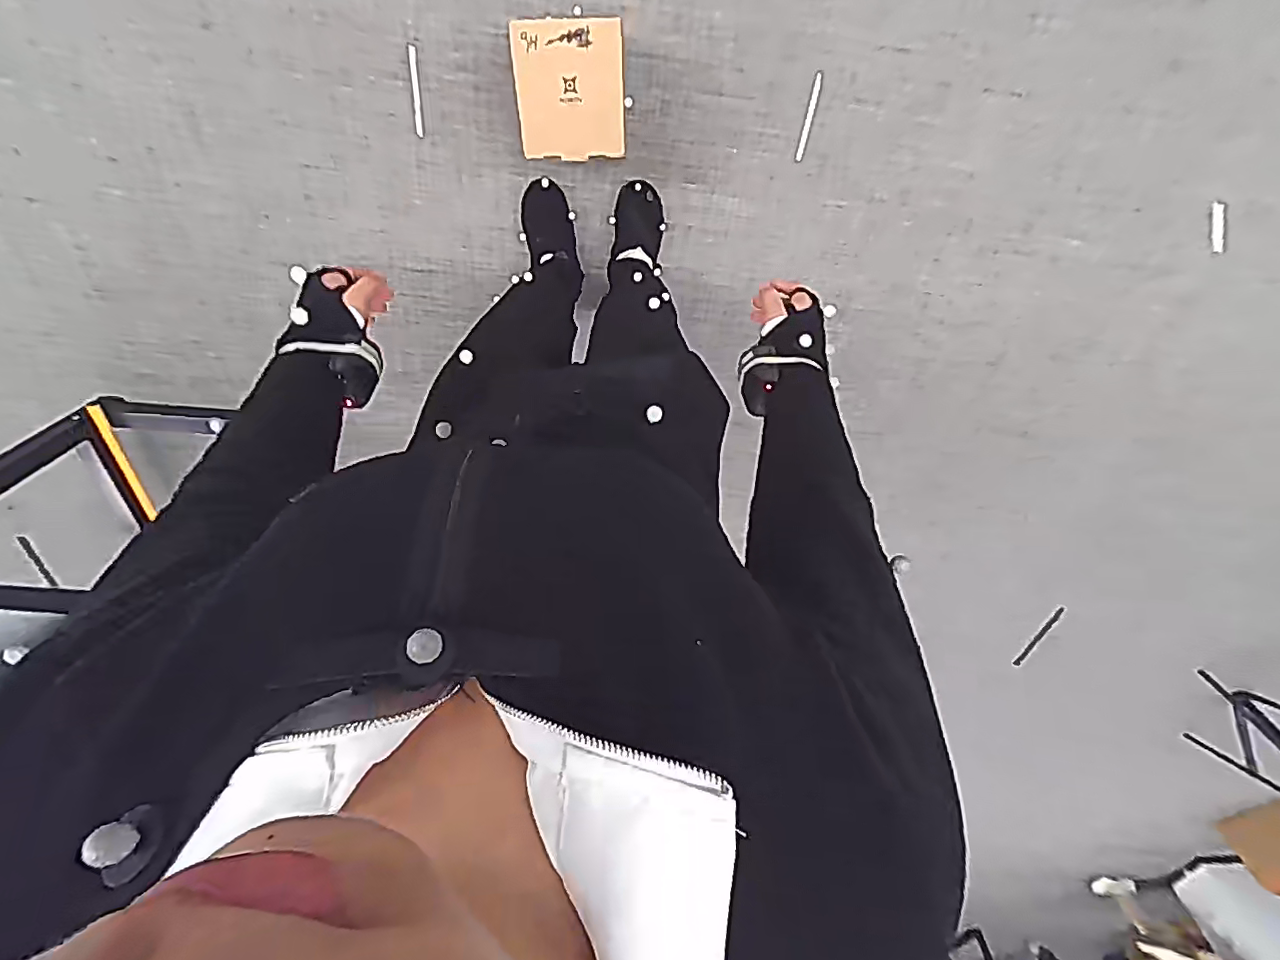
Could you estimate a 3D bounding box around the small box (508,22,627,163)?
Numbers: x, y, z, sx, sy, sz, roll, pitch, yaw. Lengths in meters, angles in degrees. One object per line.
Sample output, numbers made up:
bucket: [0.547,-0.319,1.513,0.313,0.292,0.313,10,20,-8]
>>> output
small box: [-0.108,-0.635,0.889,0.168,0.176,0.179,0,127,1]
